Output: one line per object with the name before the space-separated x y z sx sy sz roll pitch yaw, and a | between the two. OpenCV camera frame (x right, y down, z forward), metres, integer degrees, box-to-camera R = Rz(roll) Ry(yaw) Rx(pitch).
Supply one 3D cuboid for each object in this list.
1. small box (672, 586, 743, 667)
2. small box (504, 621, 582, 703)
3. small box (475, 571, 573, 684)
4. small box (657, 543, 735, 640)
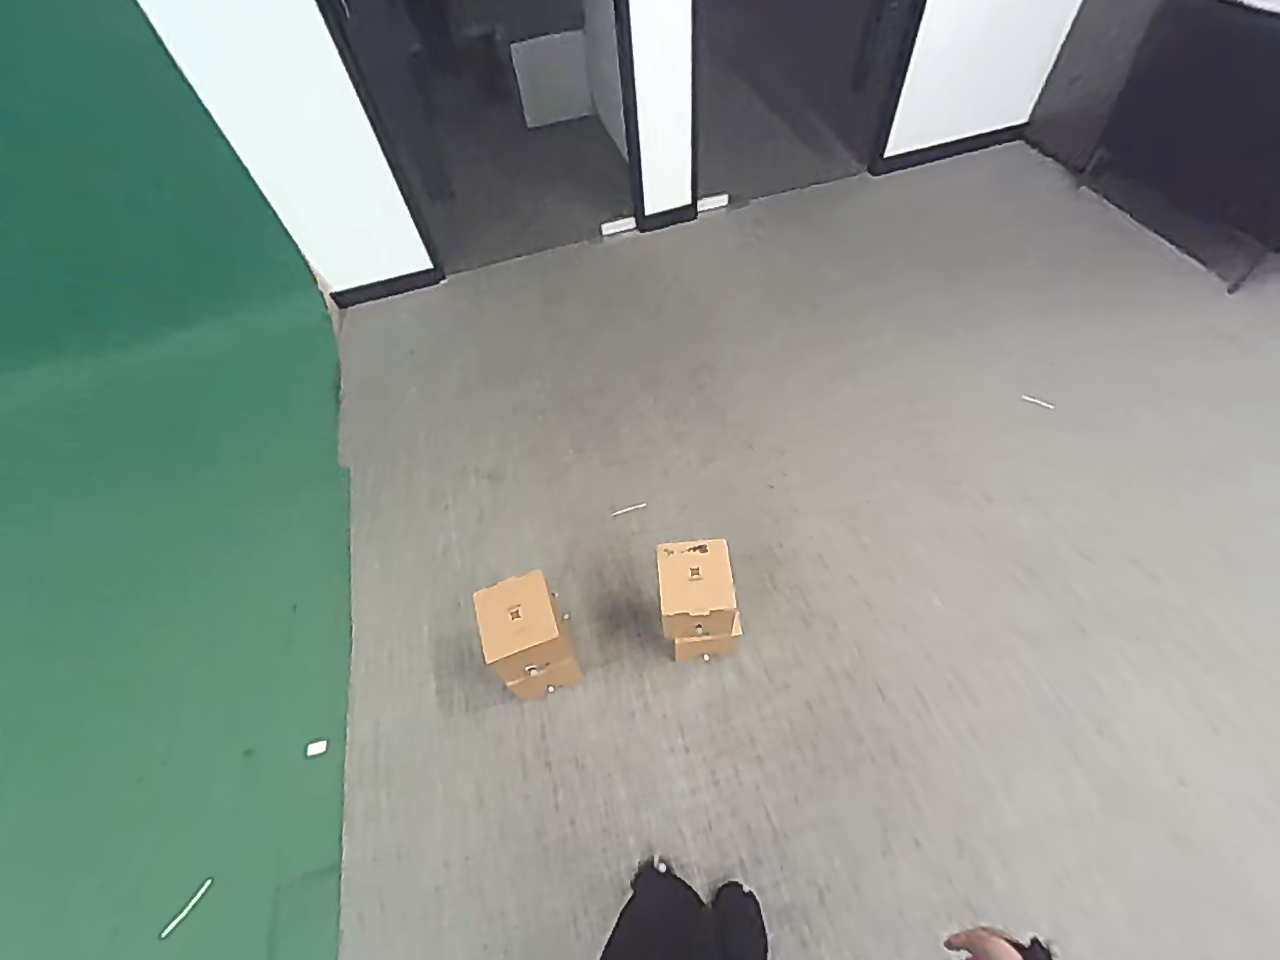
small box | 0.162 0.365 1.397 0.168 0.176 0.179 -8 55 0
small box | -0.259 0.442 1.381 0.168 0.176 0.179 -19 56 -8
small box | -0.267 0.344 1.253 0.168 0.176 0.179 -19 56 -7
small box | 0.130 0.268 1.269 0.168 0.176 0.179 -4 56 2
